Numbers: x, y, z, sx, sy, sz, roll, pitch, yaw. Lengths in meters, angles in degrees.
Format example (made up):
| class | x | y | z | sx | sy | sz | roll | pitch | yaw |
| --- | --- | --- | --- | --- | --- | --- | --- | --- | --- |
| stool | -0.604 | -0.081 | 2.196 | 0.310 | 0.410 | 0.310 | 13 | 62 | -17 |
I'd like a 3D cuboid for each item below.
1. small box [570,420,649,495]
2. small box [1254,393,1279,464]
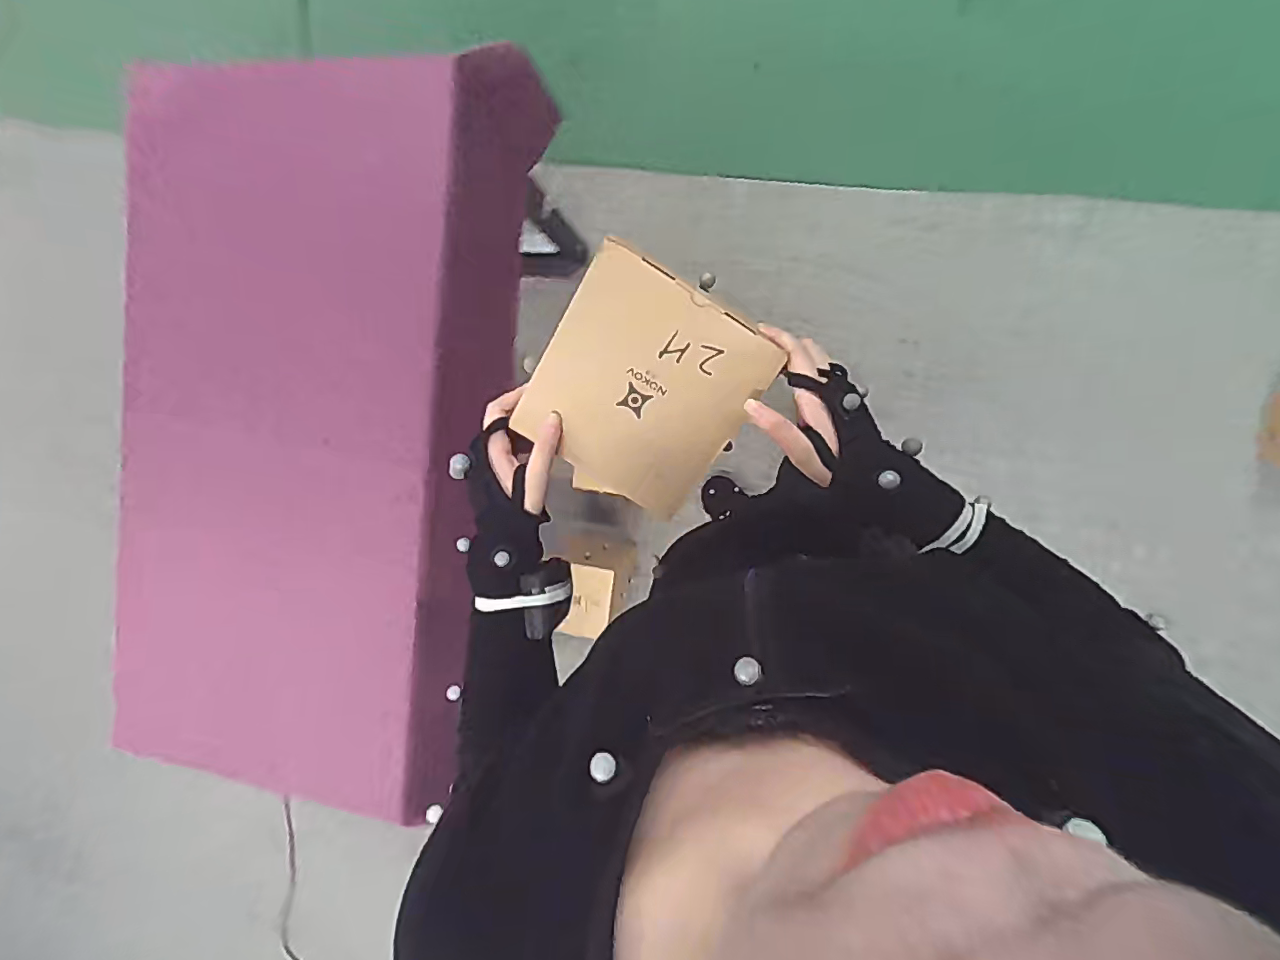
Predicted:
| class | x | y | z | sx | sy | sz | roll | pitch | yaw |
| --- | --- | --- | --- | --- | --- | --- | --- | --- | --- |
| small box | -0.076 | -0.062 | 1.458 | 0.168 | 0.176 | 0.179 | 8 | 94 | 11 |
| small box | 1.473 | -0.107 | 1.133 | 0.179 | 0.176 | 0.168 | 8 | 96 | 10 |
